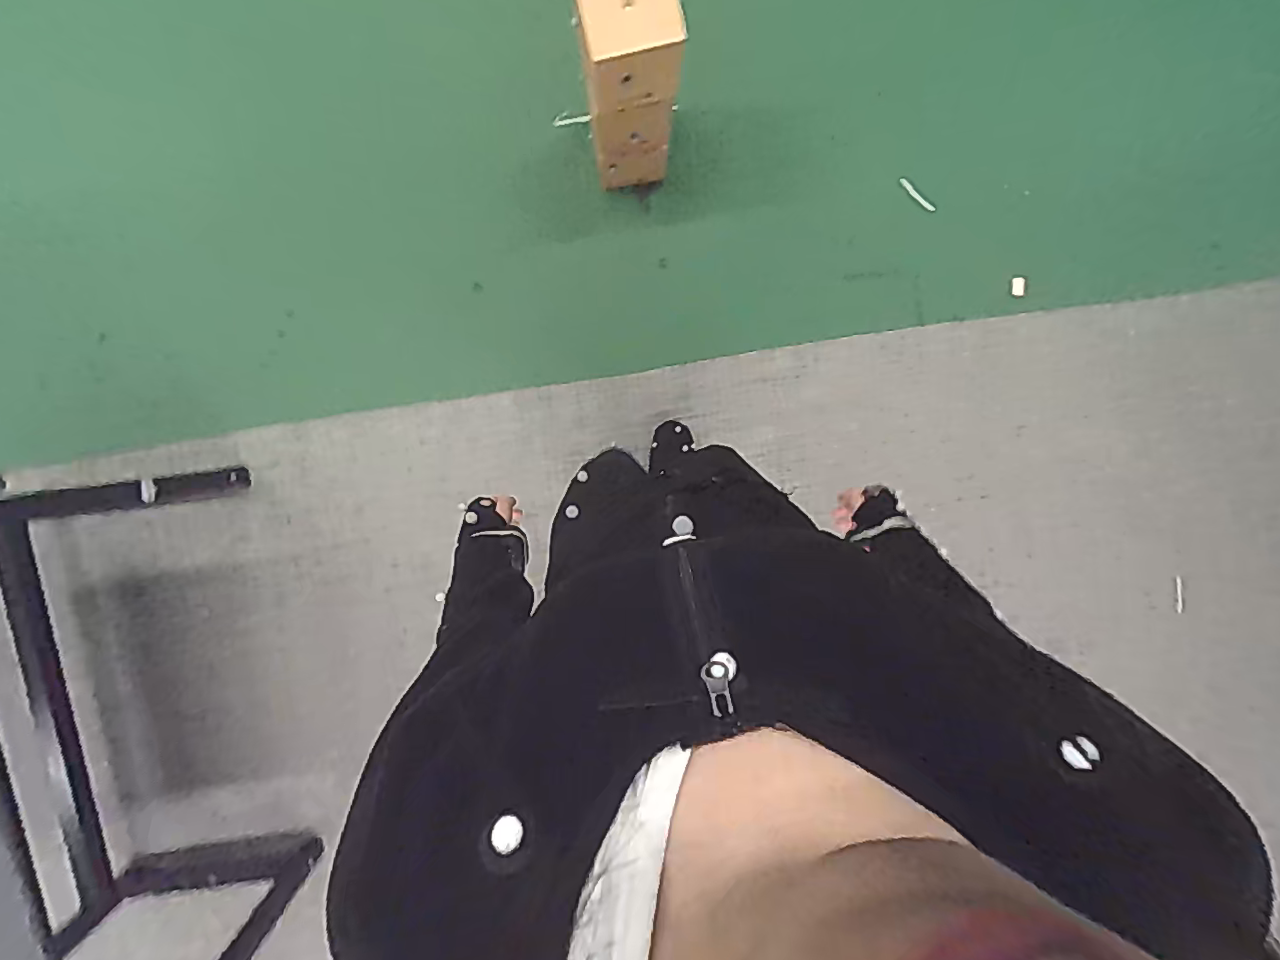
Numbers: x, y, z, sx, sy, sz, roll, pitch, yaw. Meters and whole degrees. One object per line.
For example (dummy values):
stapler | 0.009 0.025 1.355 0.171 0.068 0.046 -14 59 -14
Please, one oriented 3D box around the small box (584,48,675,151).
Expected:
small box | -0.026 -0.846 1.154 0.168 0.176 0.179 -11 96 0

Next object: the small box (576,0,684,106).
small box | -0.021 -0.826 0.993 0.168 0.176 0.179 -14 95 0
